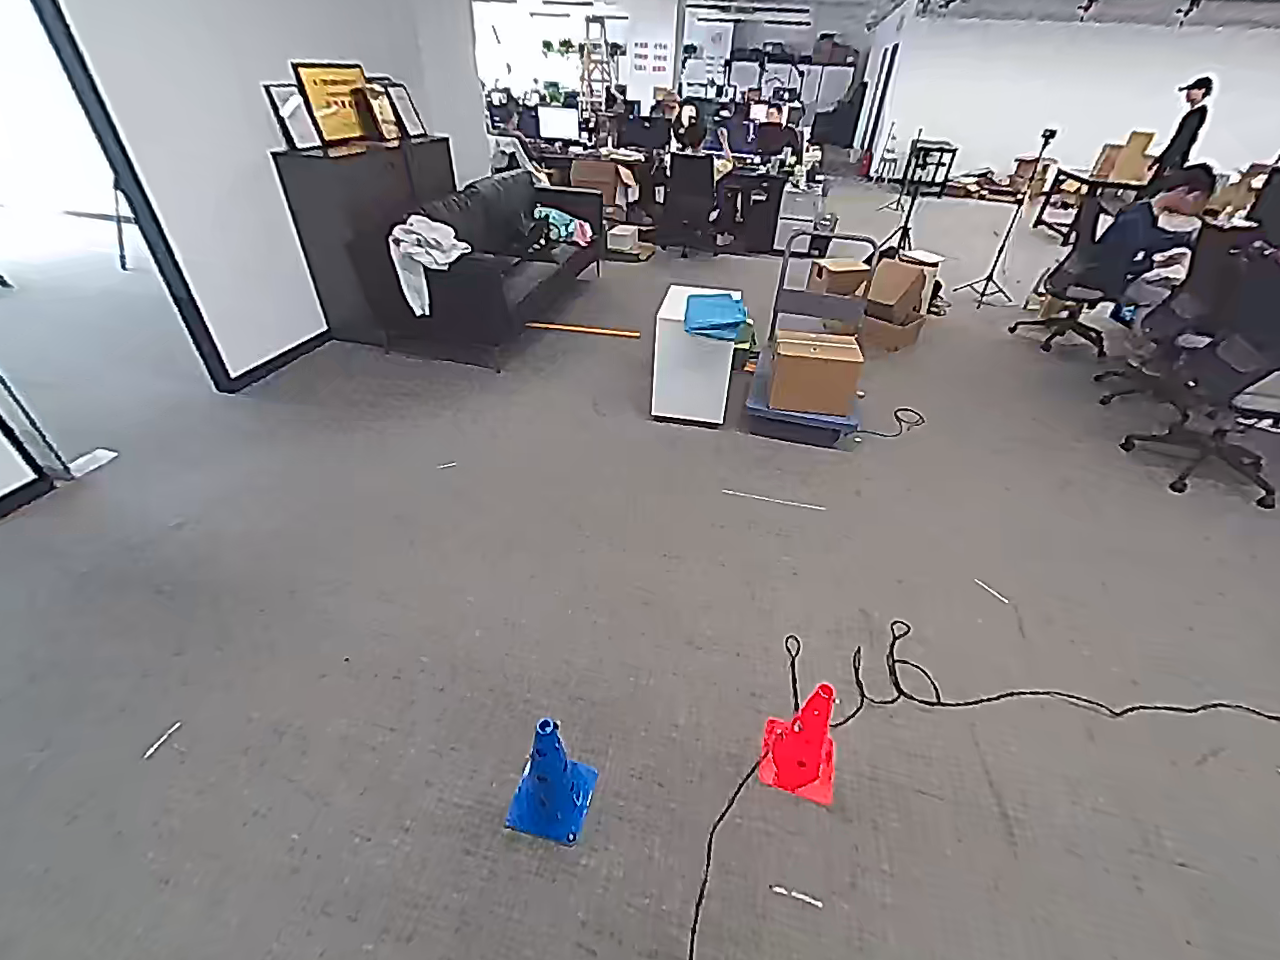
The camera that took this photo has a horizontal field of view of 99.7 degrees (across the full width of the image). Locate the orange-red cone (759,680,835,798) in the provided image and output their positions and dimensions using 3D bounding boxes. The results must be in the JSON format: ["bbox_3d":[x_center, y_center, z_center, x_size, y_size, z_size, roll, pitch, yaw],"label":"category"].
[{"bbox_3d":[0.453,0.650,1.441,0.198,0.360,0.199,13,40,15],"label":"orange-red cone"}]
